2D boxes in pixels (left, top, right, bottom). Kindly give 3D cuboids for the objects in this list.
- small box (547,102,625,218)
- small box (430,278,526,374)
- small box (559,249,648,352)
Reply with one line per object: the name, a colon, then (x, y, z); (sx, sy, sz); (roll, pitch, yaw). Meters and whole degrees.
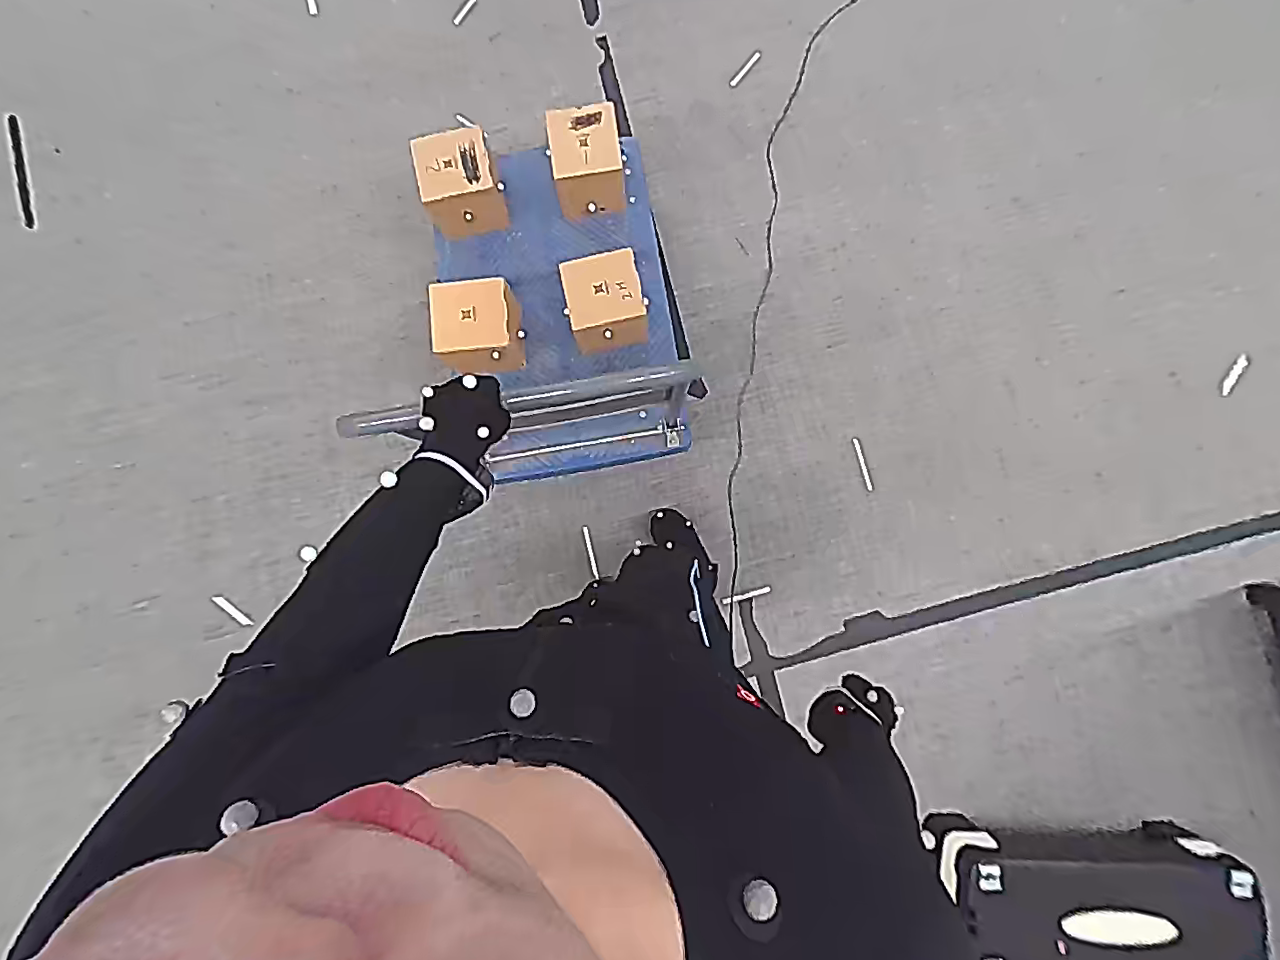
small box: (-0.130, -0.789, 1.347); (0.168, 0.176, 0.179); (-8, 85, 0)
small box: (-0.386, -0.365, 1.307); (0.179, 0.176, 0.168); (-6, 83, -1)
small box: (-0.082, -0.424, 1.305); (0.179, 0.176, 0.168); (-12, 84, 0)
